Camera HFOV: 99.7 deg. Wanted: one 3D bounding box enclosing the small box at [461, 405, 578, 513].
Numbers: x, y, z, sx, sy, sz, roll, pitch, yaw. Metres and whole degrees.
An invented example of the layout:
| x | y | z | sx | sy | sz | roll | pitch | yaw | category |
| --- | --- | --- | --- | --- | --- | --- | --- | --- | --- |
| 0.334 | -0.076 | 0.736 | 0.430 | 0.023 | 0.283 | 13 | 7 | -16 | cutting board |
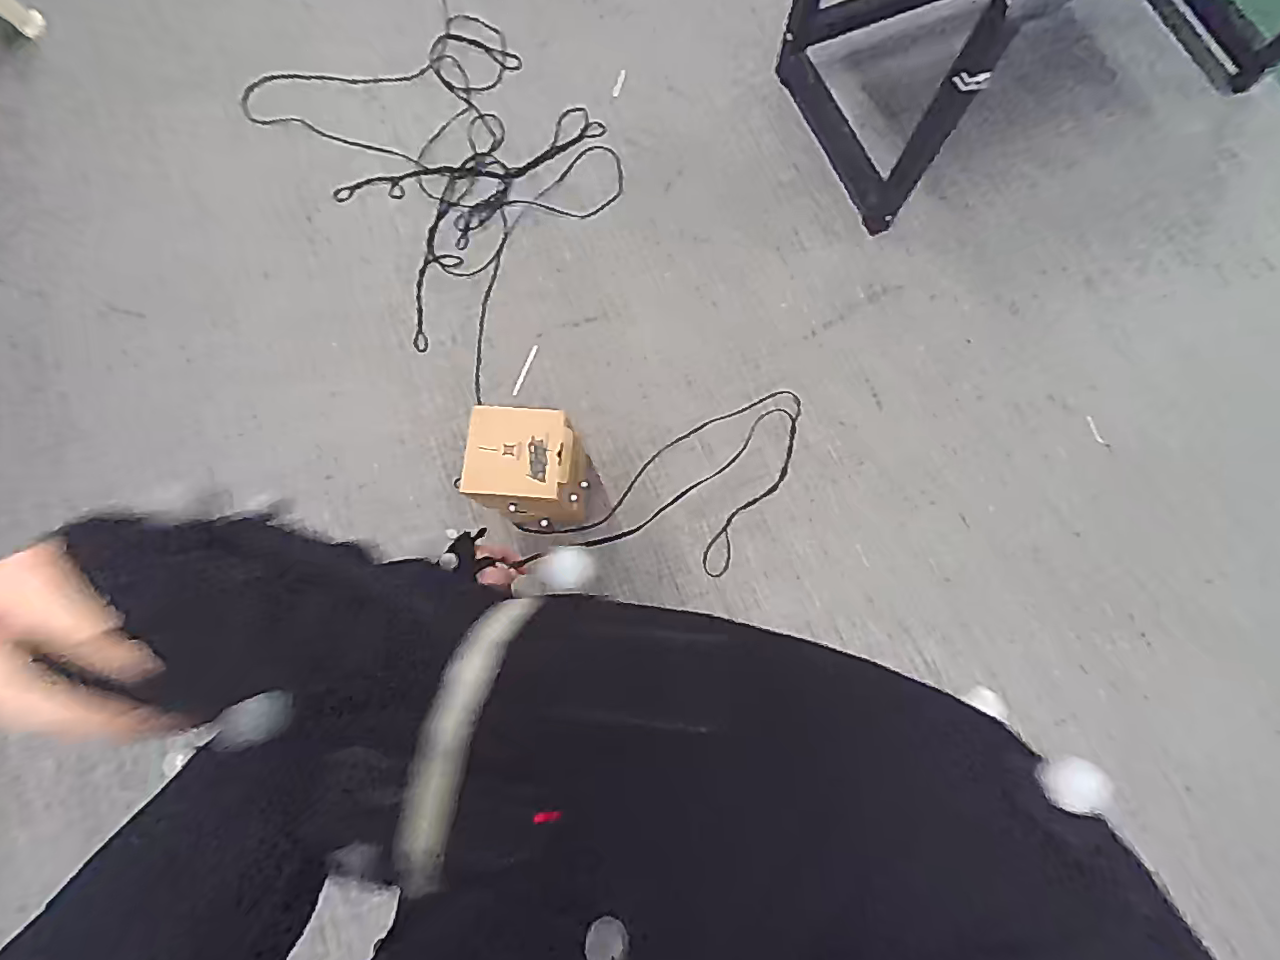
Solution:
| x | y | z | sx | sy | sz | roll | pitch | yaw | category |
| --- | --- | --- | --- | --- | --- | --- | --- | --- | --- |
| -0.220 | -0.033 | 1.041 | 0.179 | 0.176 | 0.168 | 4 | 77 | 3 | small box |

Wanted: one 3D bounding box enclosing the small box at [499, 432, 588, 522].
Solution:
| x | y | z | sx | sy | sz | roll | pitch | yaw | category |
| --- | --- | --- | --- | --- | --- | --- | --- | --- | --- |
| -0.208 | -0.001 | 1.203 | 0.168 | 0.176 | 0.179 | -1 | 77 | 1 | small box |
